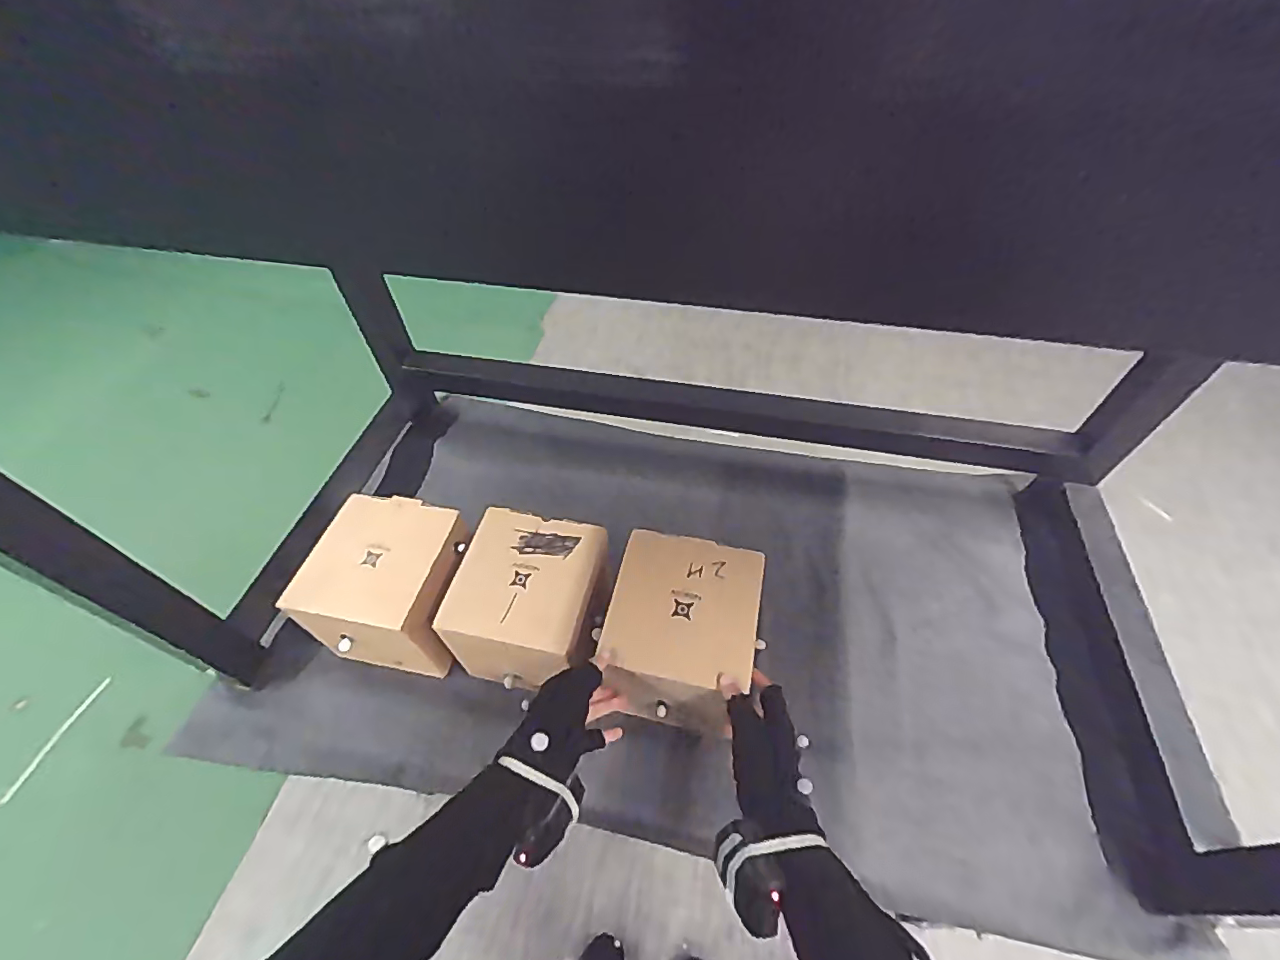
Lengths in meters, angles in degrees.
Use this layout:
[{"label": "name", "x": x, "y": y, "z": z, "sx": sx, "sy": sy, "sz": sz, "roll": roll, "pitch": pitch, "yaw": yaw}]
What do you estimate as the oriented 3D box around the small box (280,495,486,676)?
[{"label": "small box", "x": -0.331, "y": 0.148, "z": 0.743, "sx": 0.168, "sy": 0.176, "sz": 0.179, "roll": 8, "pitch": 51, "yaw": 8}]
